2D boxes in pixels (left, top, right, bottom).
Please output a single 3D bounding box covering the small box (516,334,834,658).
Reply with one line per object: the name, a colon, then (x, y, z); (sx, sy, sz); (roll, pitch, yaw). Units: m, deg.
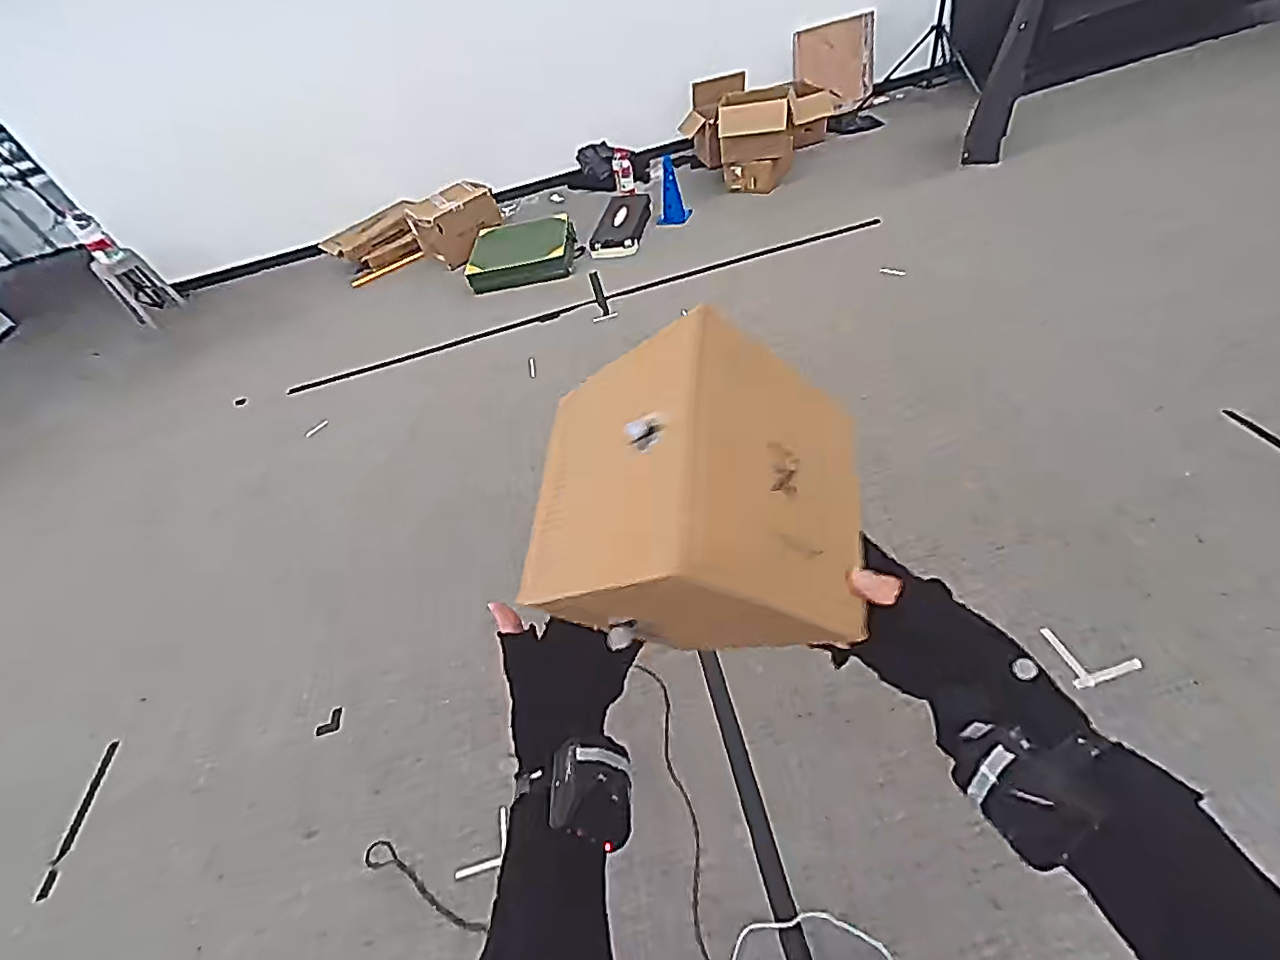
small box: (0.025, 0.031, 0.413); (0.176, 0.168, 0.179); (-25, 50, 48)
